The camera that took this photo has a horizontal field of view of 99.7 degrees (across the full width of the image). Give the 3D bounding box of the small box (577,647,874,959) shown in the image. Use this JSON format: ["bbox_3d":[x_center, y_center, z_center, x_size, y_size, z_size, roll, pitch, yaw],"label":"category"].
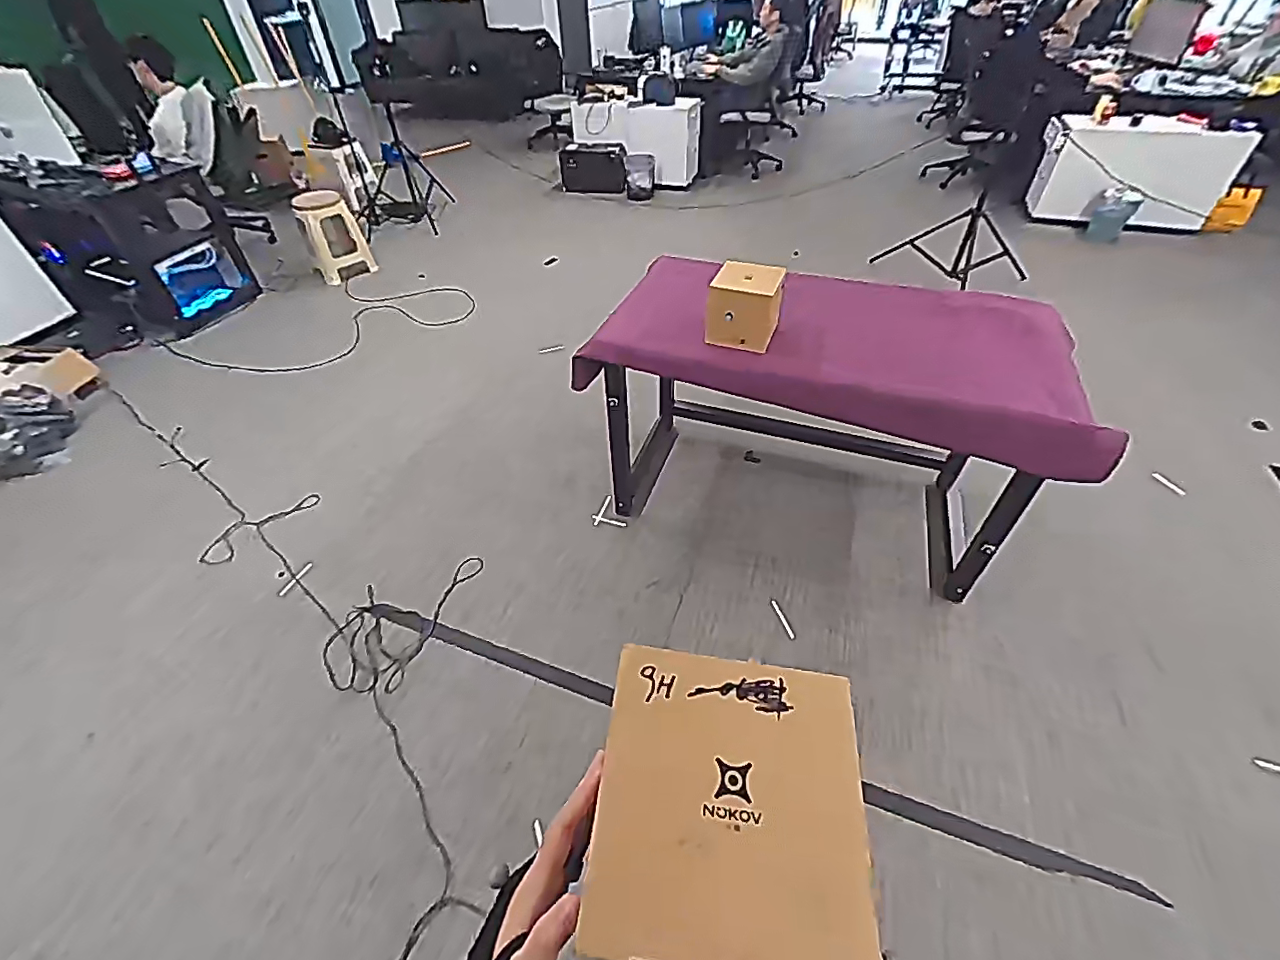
[{"bbox_3d":[0.055,0.250,0.404,0.168,0.176,0.179,8,51,3],"label":"small box"}]

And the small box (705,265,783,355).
[{"bbox_3d":[0.279,-0.458,1.464,0.168,0.176,0.179,15,45,16],"label":"small box"}]
